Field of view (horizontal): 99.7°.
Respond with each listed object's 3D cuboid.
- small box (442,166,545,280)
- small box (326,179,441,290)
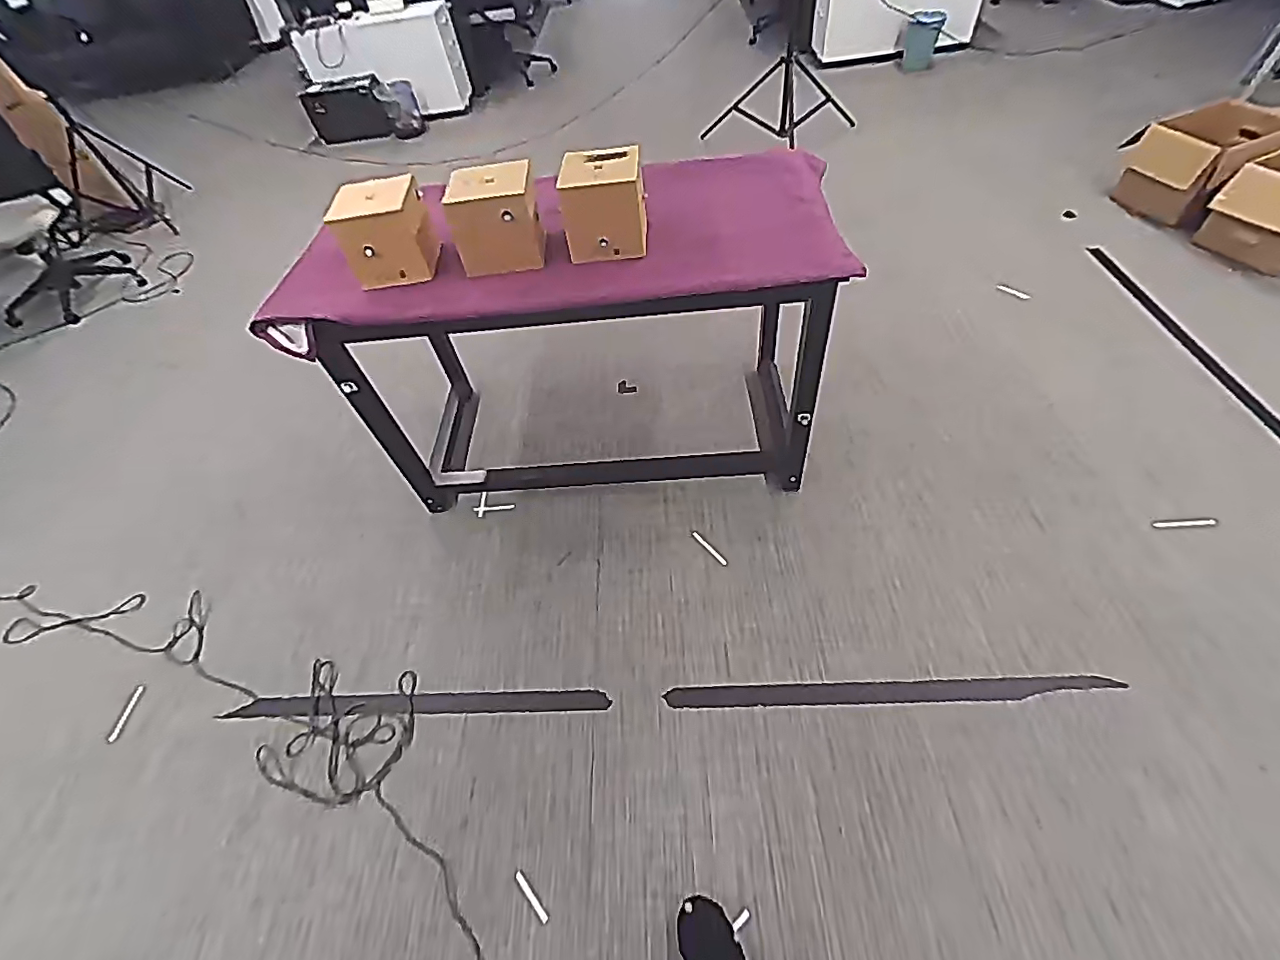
[{"bbox_3d":[-0.316,-0.572,1.209,0.179,0.176,0.168,-7,50,2],"label":"small box"},{"bbox_3d":[-0.571,-0.549,1.231,0.168,0.176,0.179,-10,51,0],"label":"small box"}]
